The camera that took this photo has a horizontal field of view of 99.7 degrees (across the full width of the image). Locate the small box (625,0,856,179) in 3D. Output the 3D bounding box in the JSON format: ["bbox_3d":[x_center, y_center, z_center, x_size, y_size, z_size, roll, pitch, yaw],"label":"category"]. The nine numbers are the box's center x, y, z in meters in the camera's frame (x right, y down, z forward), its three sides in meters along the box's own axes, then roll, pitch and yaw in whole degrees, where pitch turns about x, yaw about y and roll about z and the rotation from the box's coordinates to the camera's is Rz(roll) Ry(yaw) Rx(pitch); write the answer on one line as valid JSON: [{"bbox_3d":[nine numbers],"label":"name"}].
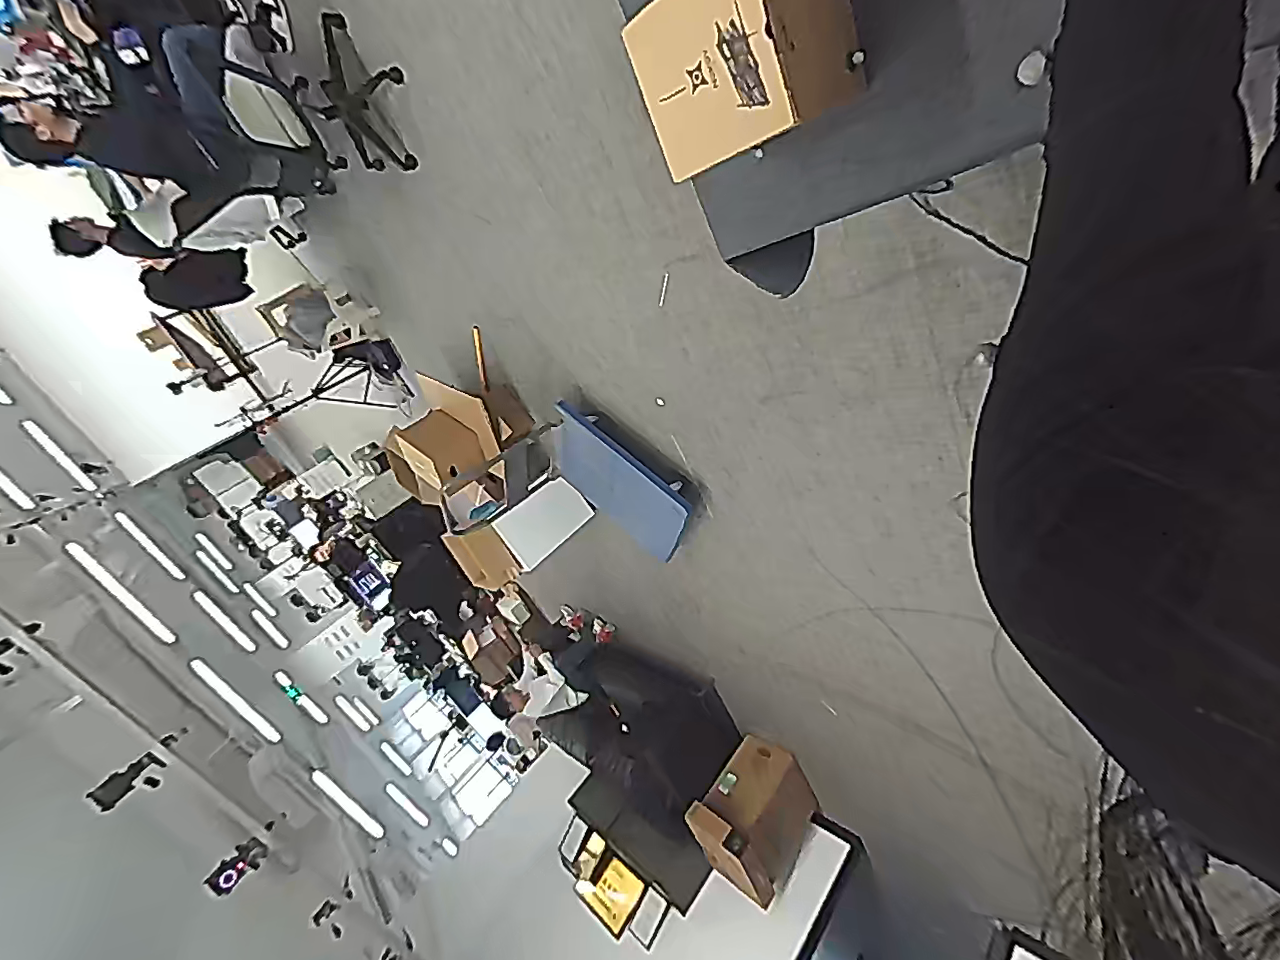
[{"bbox_3d":[0.121,-0.475,0.607,0.179,0.176,0.168,6,130,49],"label":"small box"}]
